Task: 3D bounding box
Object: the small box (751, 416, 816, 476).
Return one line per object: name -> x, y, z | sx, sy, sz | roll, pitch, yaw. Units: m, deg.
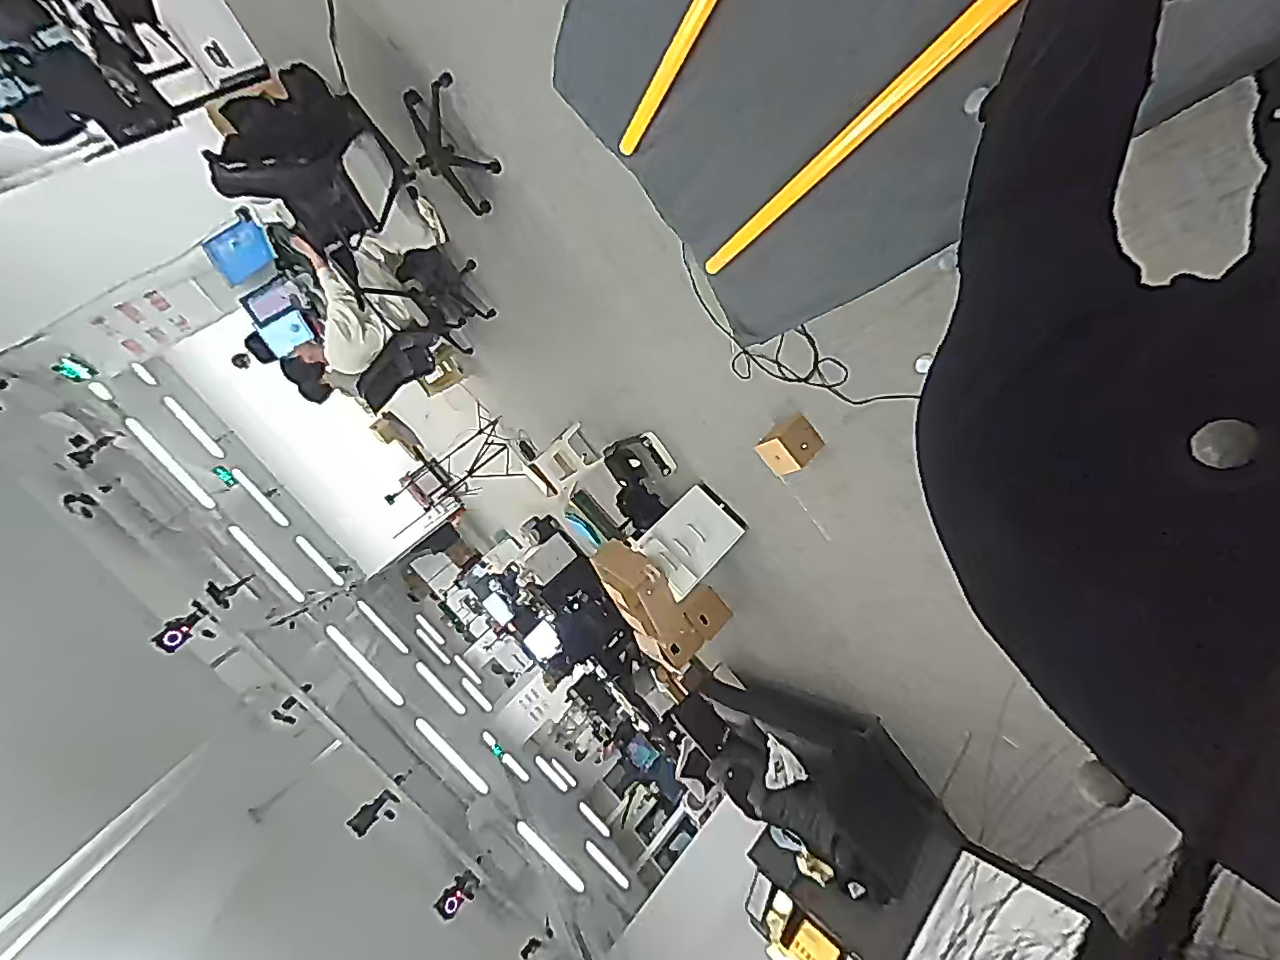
small box -> 0.607, -0.142, 2.254 | 0.168, 0.176, 0.179 | 49, 158, -6
